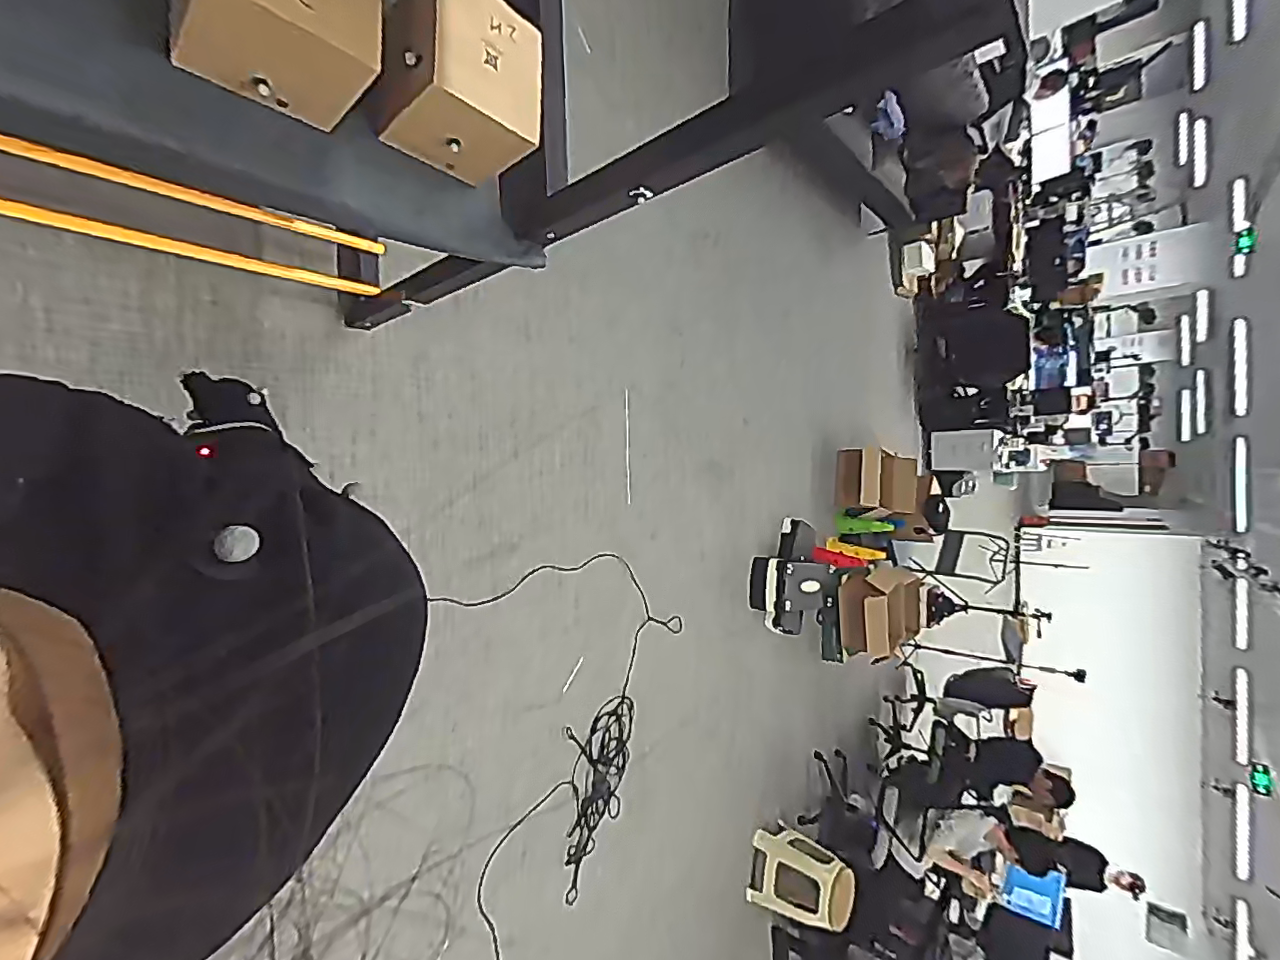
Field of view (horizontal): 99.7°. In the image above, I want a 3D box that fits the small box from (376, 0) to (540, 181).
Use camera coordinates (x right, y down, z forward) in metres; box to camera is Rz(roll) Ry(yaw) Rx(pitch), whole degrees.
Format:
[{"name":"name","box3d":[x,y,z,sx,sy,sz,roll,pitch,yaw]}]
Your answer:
[{"name":"small box","box3d":[-0.264,-0.574,0.784,0.168,0.176,0.179,4,86,-49]}]
